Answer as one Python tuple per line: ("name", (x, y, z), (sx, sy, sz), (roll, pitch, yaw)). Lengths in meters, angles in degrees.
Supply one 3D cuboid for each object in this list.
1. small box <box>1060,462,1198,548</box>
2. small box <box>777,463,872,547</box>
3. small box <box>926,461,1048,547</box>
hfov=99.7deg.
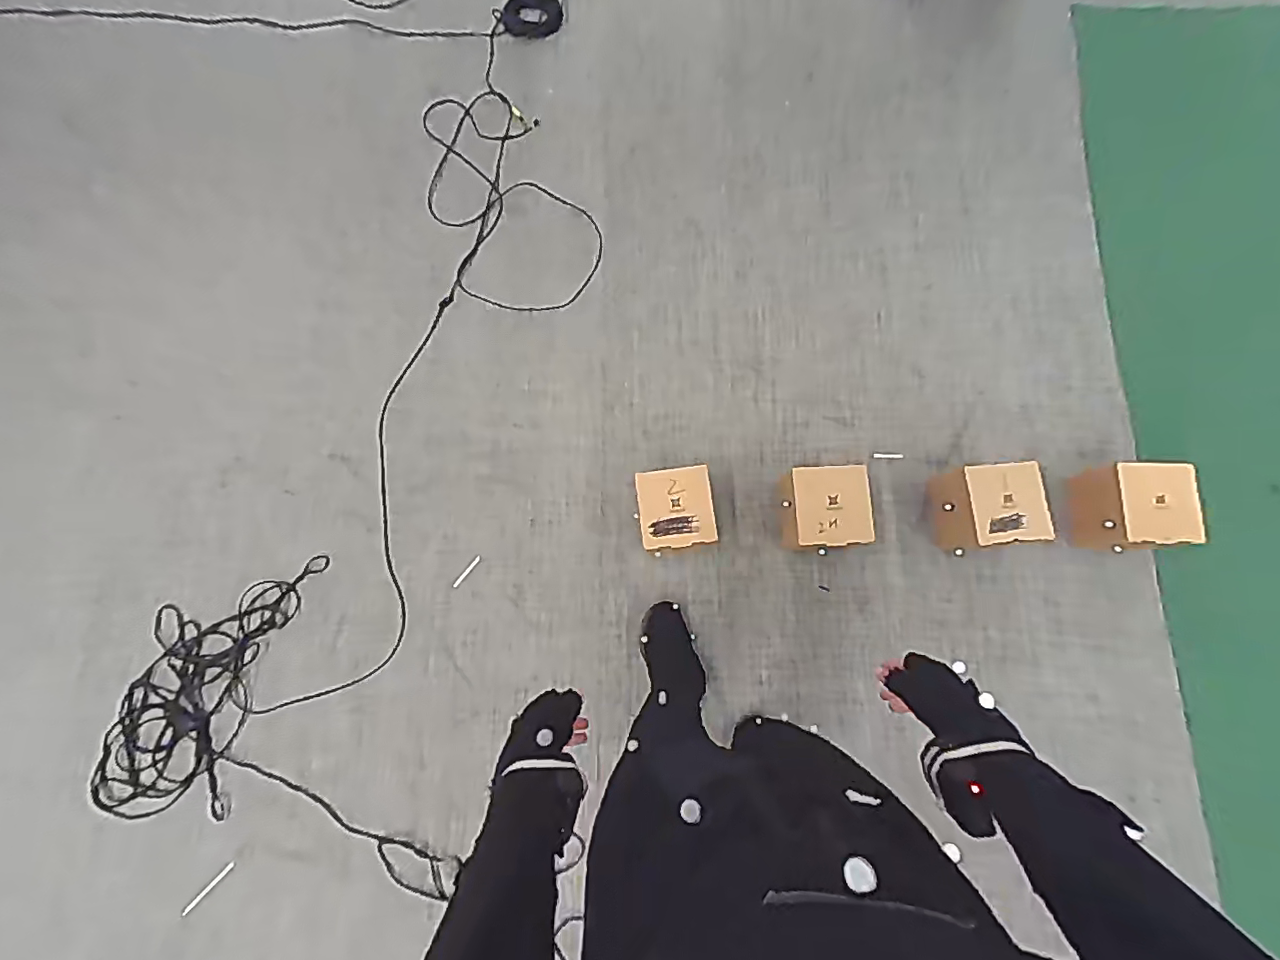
("small box", (1.123, 0.063, 1.259), (0.168, 0.176, 0.179), (1, 80, 2))
("small box", (0.424, 0.064, 1.270), (0.168, 0.176, 0.179), (-2, 80, 2))
("small box", (0.800, 0.063, 1.264), (0.168, 0.176, 0.179), (-4, 78, 0))
